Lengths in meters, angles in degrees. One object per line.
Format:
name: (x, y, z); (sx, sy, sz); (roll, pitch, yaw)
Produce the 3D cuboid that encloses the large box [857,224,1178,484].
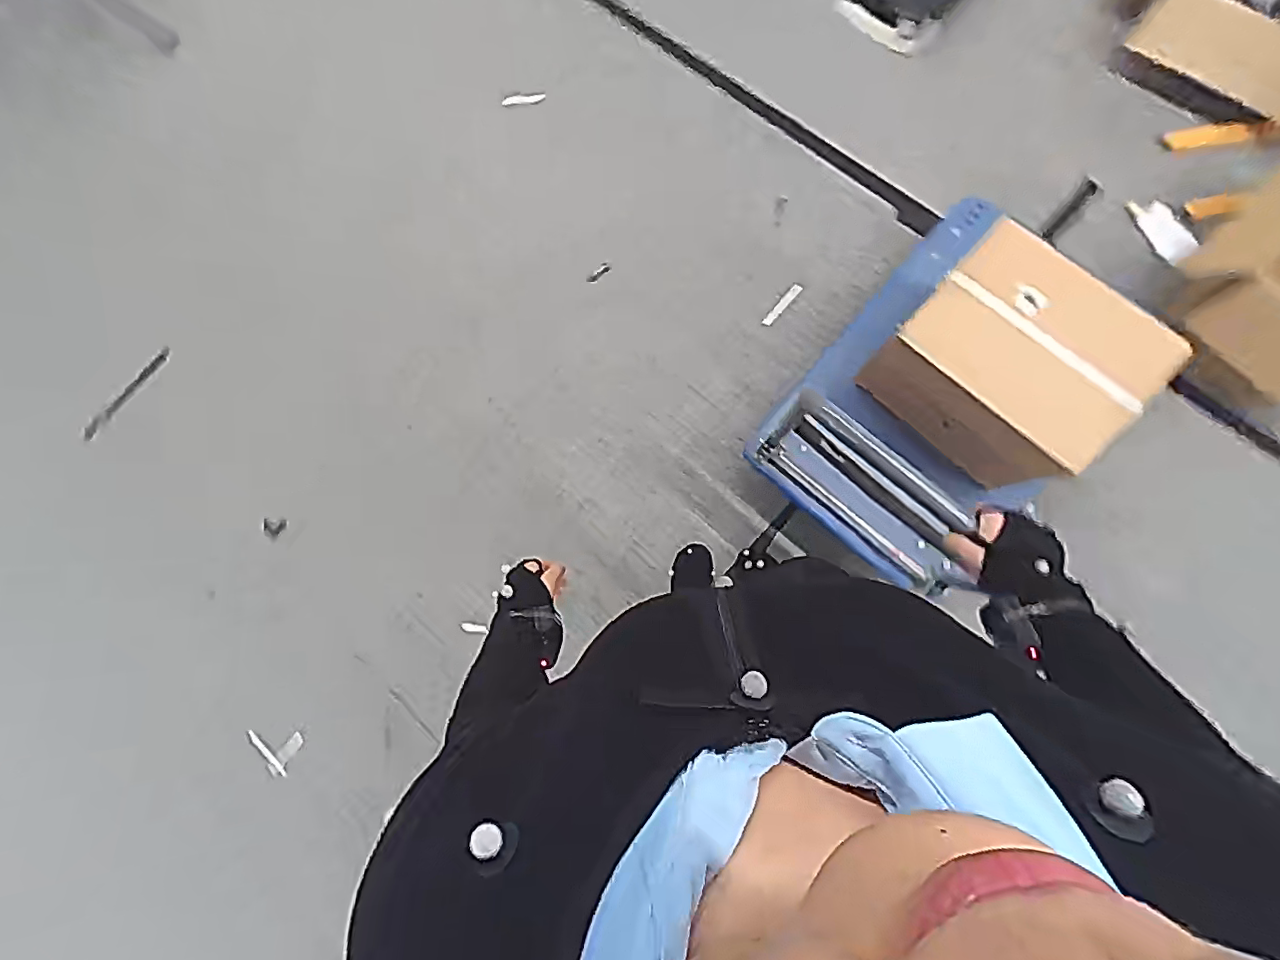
large box: (0.759, -0.243, 1.165); (0.408, 0.320, 0.320); (42, 89, 10)
